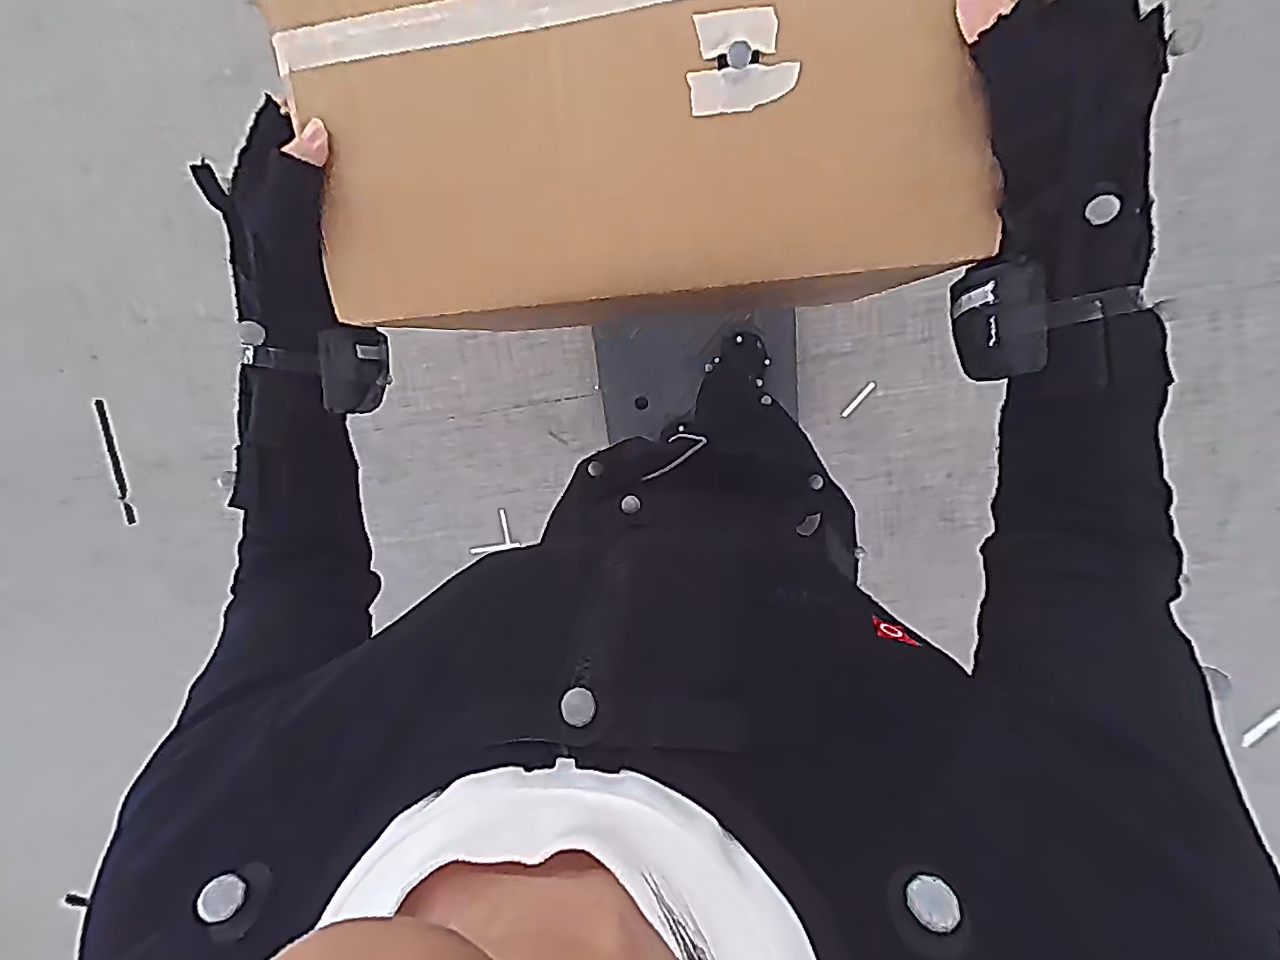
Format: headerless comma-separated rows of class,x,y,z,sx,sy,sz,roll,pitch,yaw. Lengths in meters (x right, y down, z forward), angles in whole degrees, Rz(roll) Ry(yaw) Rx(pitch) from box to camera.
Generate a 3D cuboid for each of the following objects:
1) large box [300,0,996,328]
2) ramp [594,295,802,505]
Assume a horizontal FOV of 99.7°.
large box,0.008,-0.311,0.451,0.408,0.320,0.320,-4,104,8
ramp,0.127,-0.413,1.296,0.509,0.206,0.991,-6,100,9
